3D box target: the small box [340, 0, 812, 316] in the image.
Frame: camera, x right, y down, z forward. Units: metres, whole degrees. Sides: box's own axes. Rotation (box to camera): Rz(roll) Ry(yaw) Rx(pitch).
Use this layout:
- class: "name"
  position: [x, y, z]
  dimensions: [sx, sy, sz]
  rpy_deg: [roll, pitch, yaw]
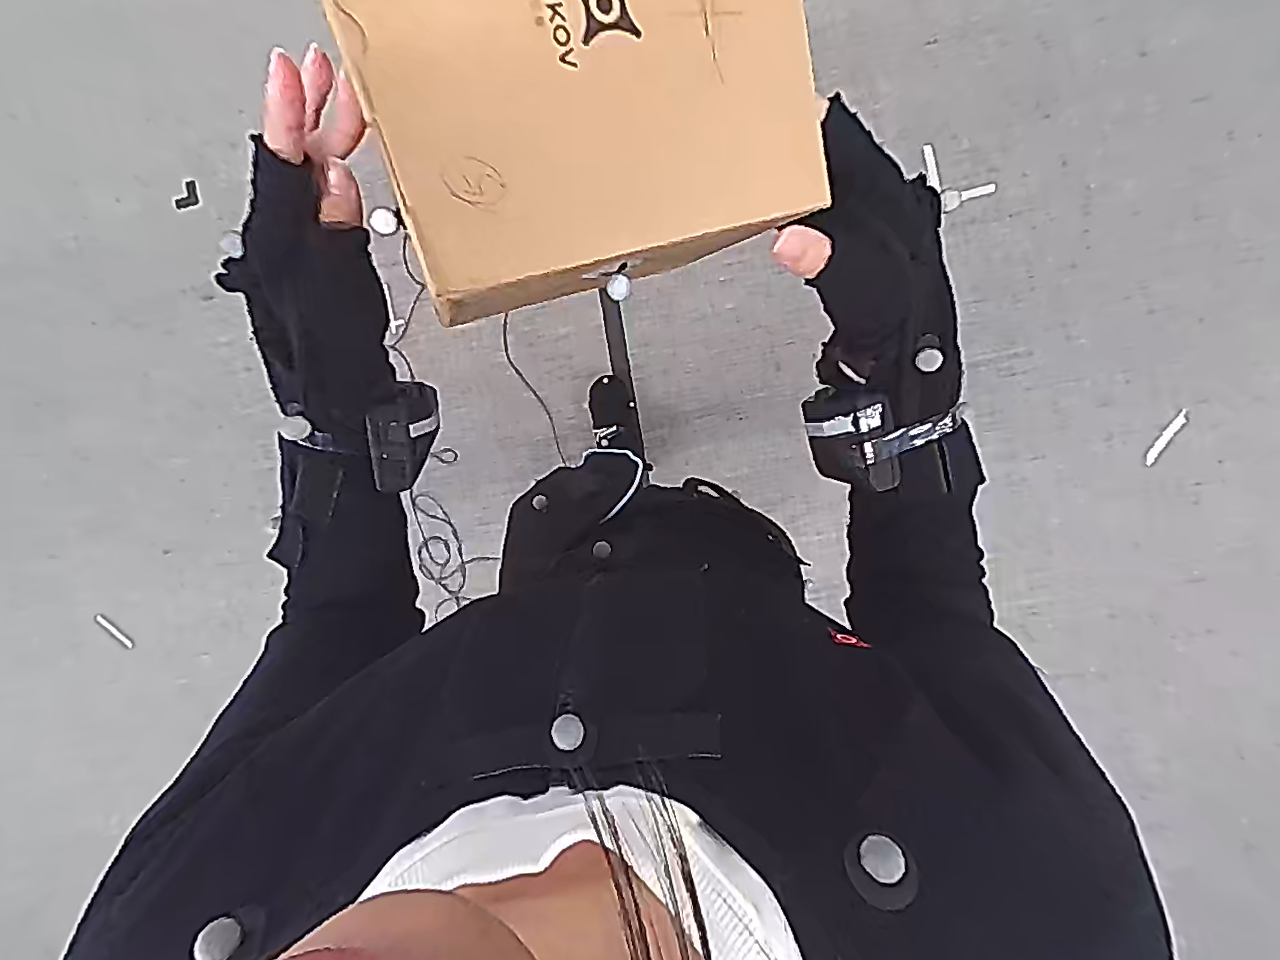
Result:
- class: "small box"
  position: [-0.042, -0.192, 0.286]
  dimensions: [0.179, 0.176, 0.168]
  rpy_deg: [-19, 107, -14]
